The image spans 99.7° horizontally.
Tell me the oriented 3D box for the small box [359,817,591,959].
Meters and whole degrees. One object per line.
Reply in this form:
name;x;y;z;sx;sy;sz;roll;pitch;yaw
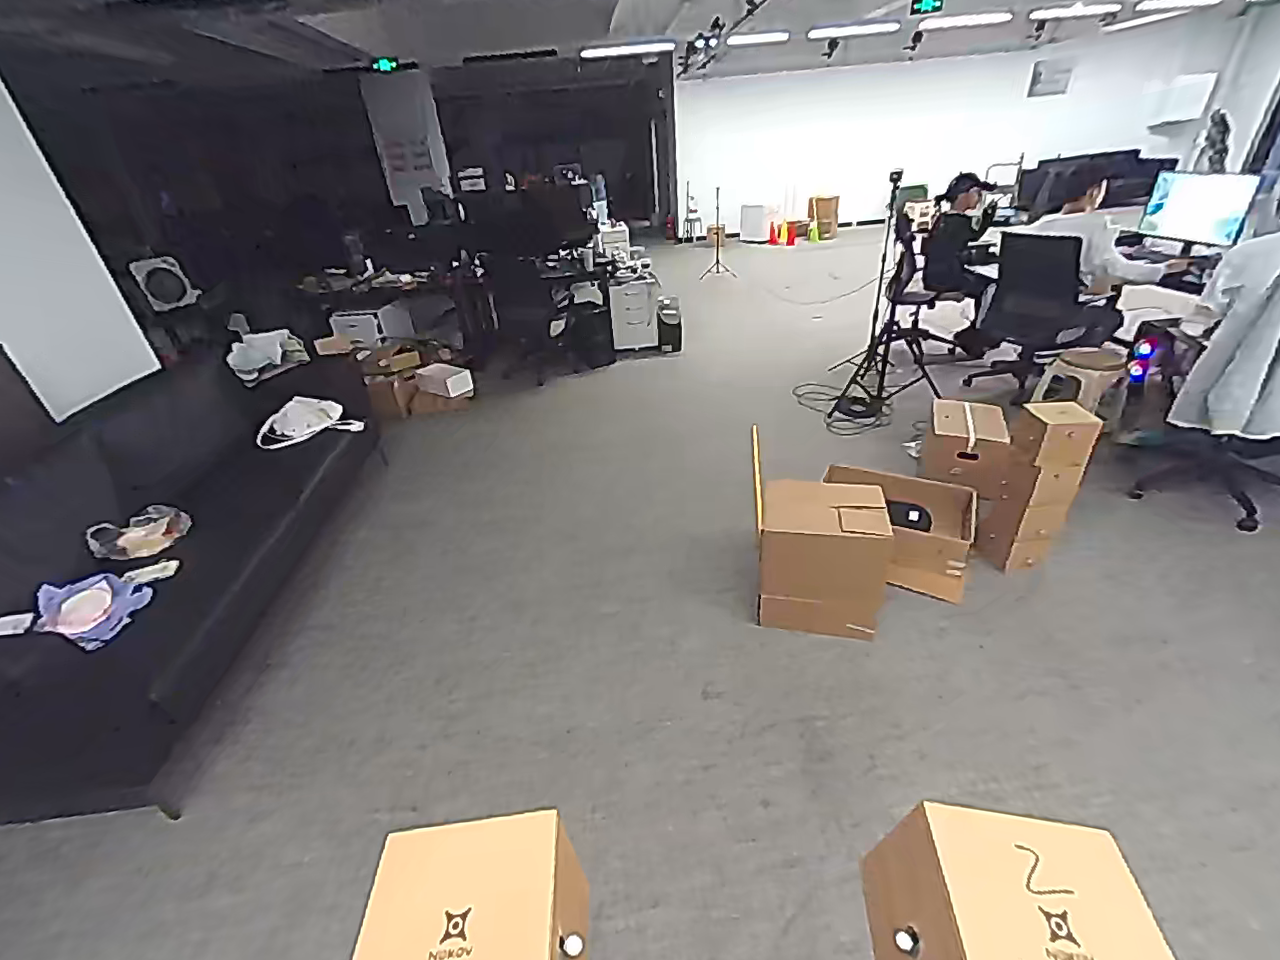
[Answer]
small box;-0.139;0.443;0.486;0.168;0.176;0.179;-8;34;0
